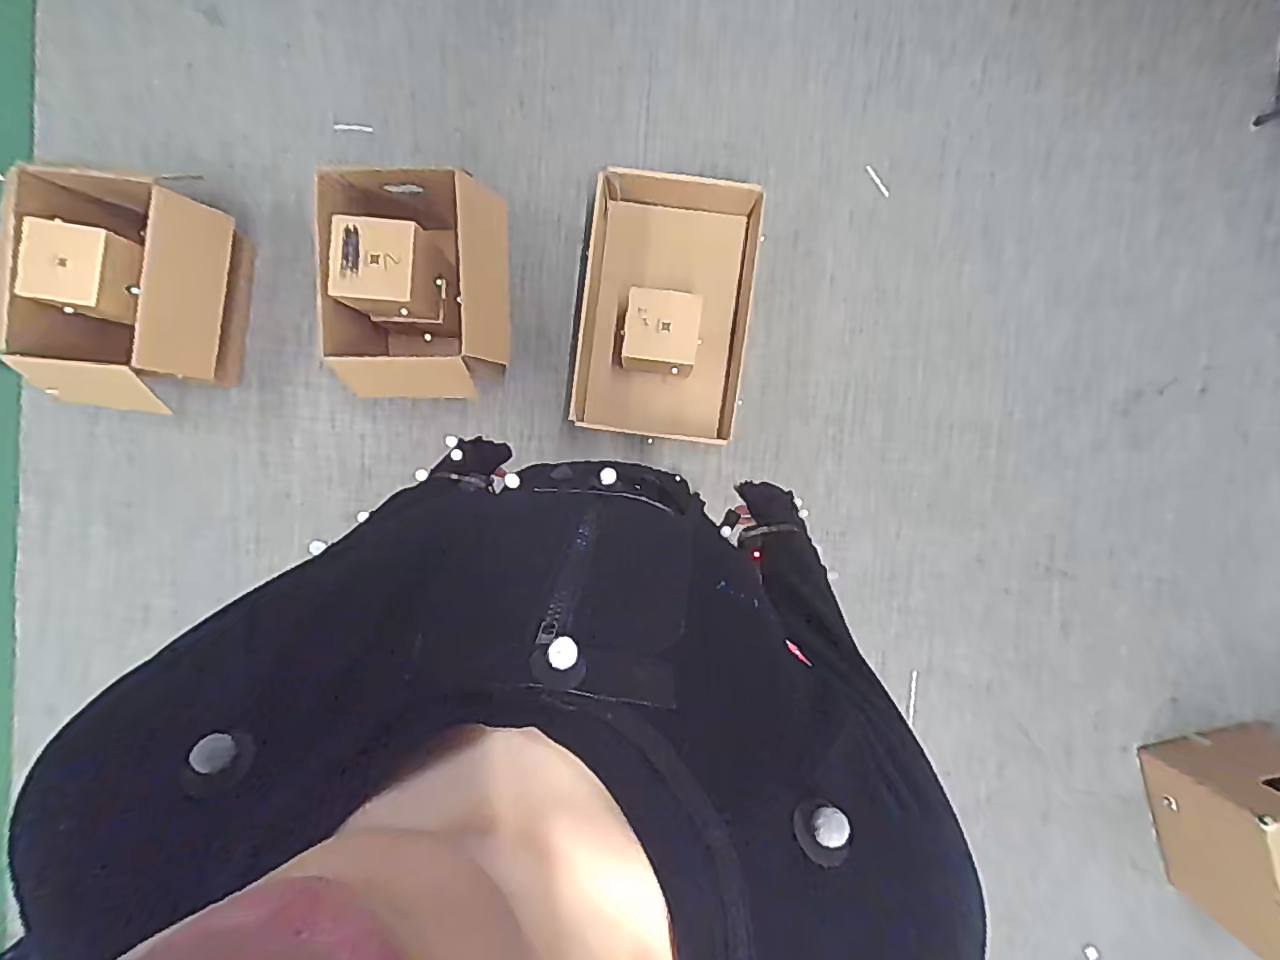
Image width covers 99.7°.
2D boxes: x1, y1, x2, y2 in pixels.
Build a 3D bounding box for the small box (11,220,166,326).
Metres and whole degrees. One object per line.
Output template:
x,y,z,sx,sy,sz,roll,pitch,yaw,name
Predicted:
-1.218,-0.452,1.207,0.179,0.176,0.168,8,91,-1,small box
